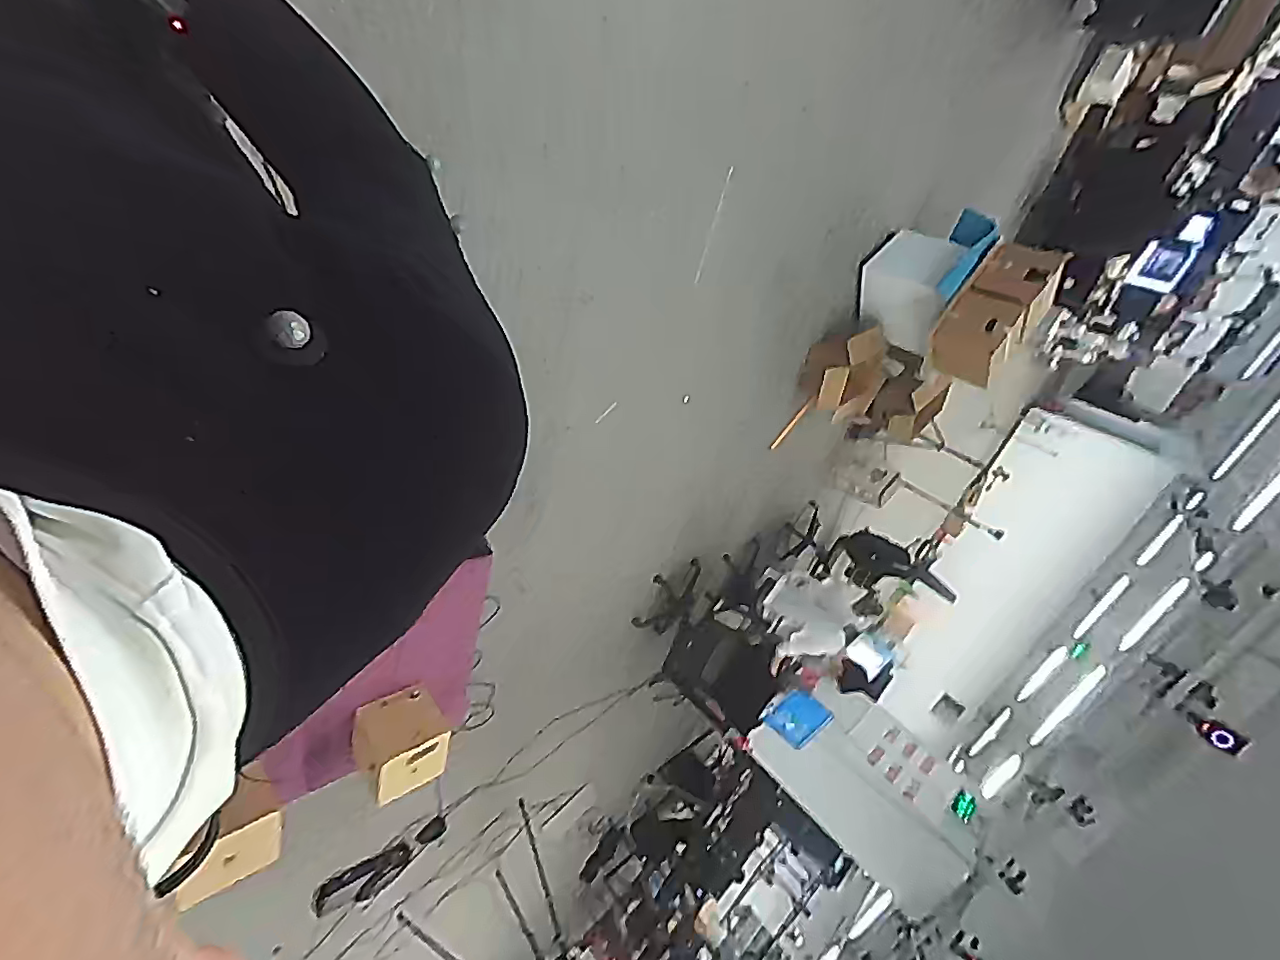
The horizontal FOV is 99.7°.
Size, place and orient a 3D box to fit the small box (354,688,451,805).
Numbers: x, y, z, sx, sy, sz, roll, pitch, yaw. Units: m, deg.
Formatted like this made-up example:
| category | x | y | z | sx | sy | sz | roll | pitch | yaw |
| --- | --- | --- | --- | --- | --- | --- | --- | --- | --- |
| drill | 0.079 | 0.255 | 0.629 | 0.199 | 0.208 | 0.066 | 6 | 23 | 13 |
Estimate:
| category | x | y | z | sx | sy | sz | roll | pitch | yaw |
| --- | --- | --- | --- | --- | --- | --- | --- | --- | --- |
| small box | -0.593 | 0.646 | 1.340 | 0.168 | 0.176 | 0.179 | -11 | 129 | -44 |

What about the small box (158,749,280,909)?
| category | x | y | z | sx | sy | sz | roll | pitch | yaw |
| --- | --- | --- | --- | --- | --- | --- | --- | --- | --- |
| small box | -0.843 | 0.689 | 1.087 | 0.168 | 0.176 | 0.179 | -10 | 127 | -46 |
